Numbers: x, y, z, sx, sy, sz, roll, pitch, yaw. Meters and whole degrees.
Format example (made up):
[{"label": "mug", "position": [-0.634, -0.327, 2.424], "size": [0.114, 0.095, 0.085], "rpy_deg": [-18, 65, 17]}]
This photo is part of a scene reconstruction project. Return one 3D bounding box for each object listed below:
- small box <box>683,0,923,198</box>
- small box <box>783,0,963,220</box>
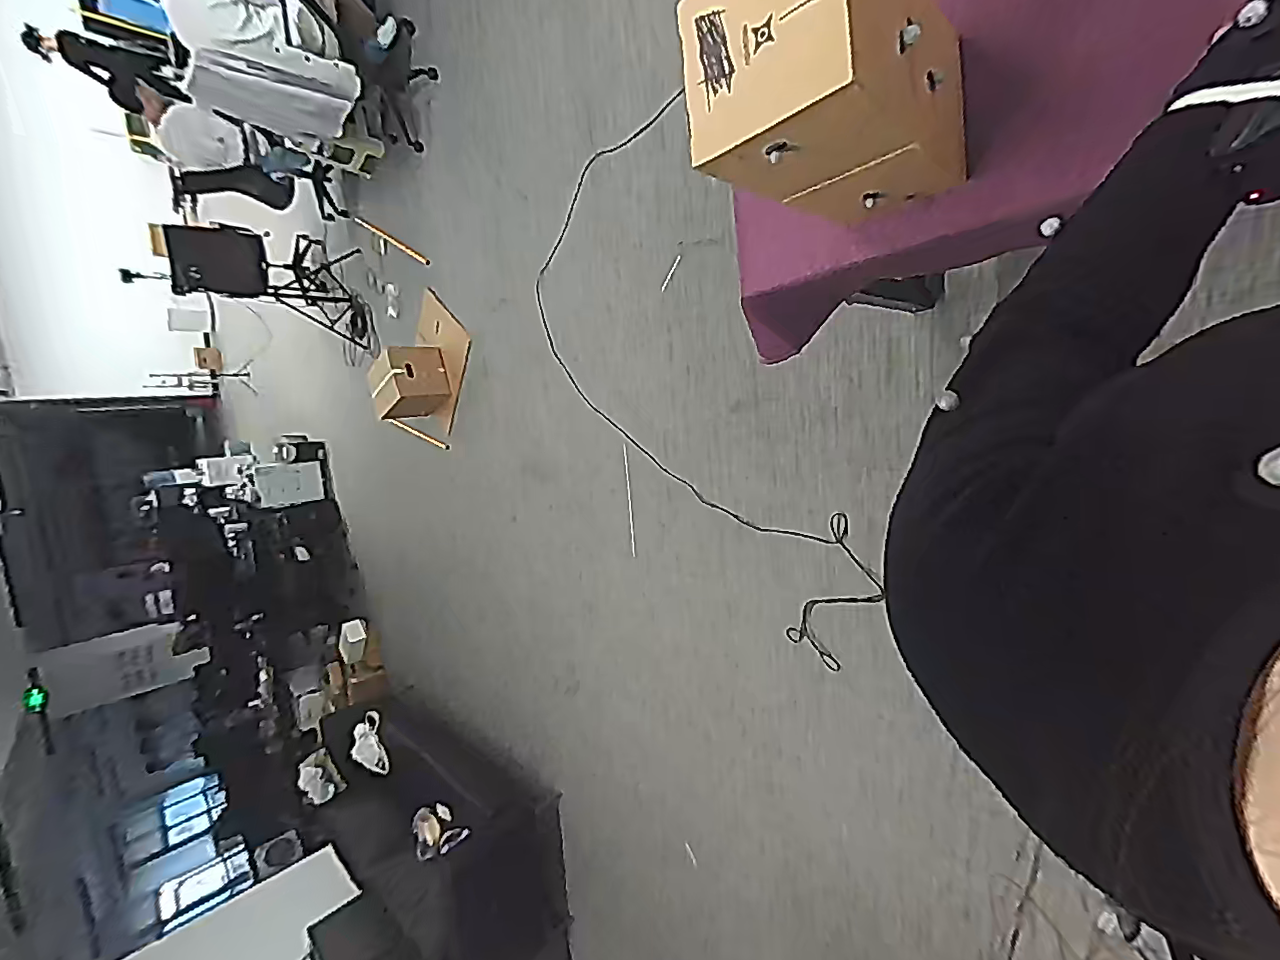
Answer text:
[{"label": "small box", "position": [0.169, -0.420, 0.560], "size": [0.179, 0.176, 0.168], "rpy_deg": [-1, 97, 45]}, {"label": "small box", "position": [0.287, -0.442, 0.672], "size": [0.168, 0.176, 0.179], "rpy_deg": [0, 97, 46]}]
